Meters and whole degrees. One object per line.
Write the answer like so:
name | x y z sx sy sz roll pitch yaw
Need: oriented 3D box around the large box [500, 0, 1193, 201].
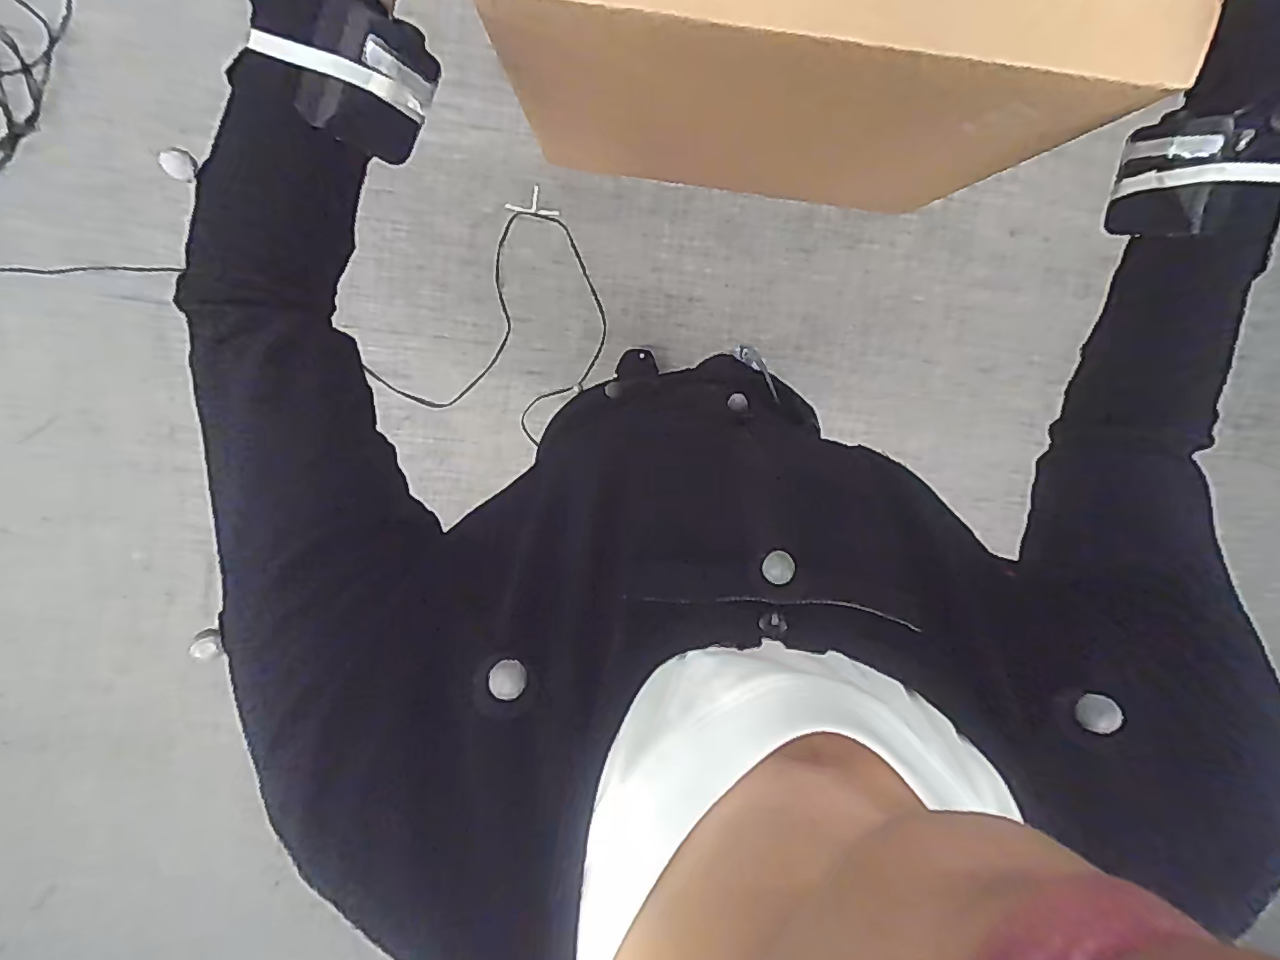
large box | 0.120 -0.434 0.411 0.408 0.320 0.320 5 105 -4
